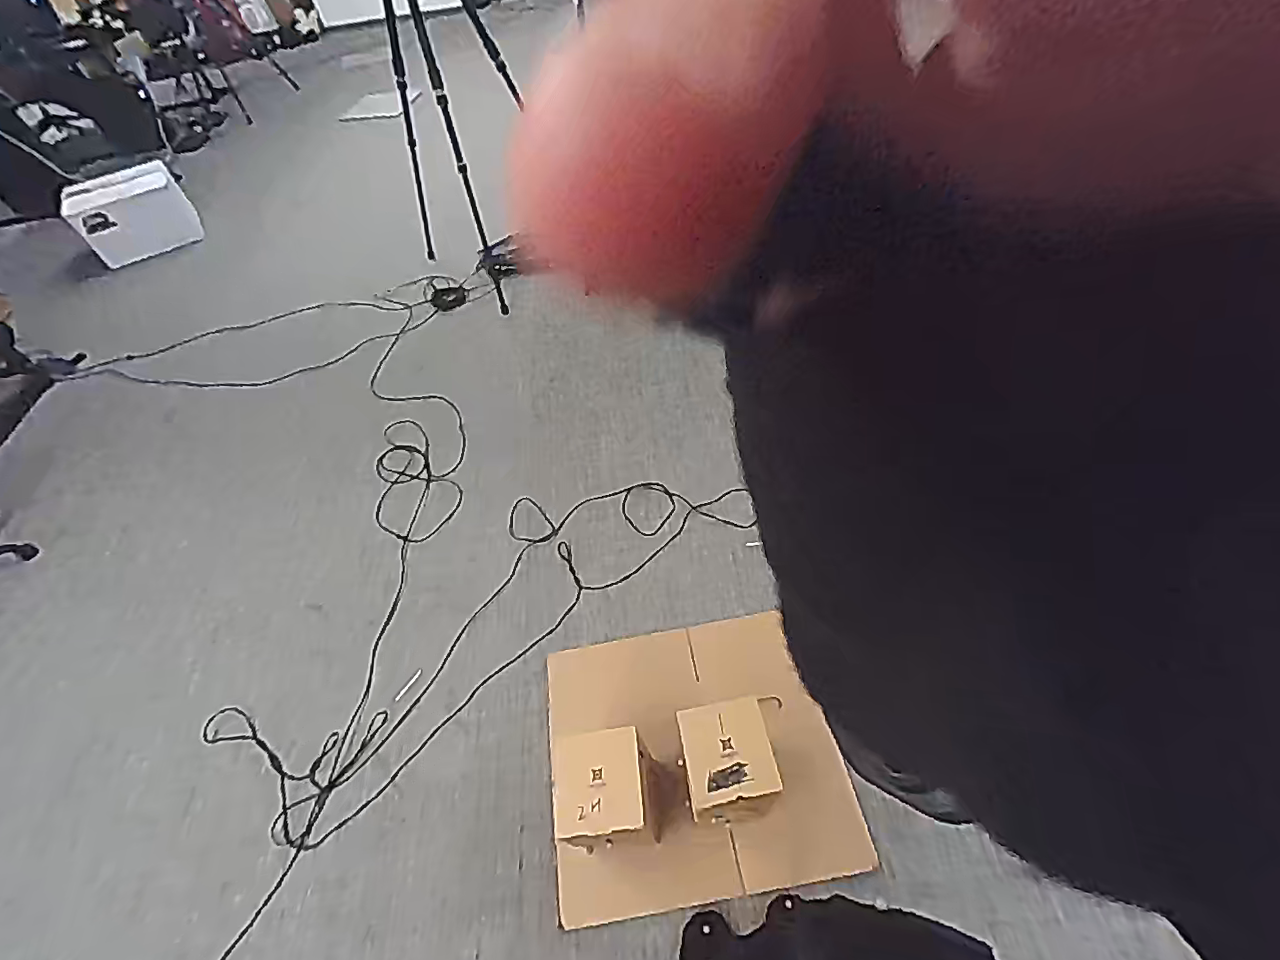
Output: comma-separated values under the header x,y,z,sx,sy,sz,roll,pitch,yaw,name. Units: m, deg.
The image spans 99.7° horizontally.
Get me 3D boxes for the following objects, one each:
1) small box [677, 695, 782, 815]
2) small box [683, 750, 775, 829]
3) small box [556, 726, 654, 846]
x,y,z,sx,sy,sz,roll,pitch,yaw,name
0.175,0.560,1.090,0.168,0.176,0.179,-12,51,-2,small box
0.191,0.663,1.217,0.168,0.176,0.179,-11,52,-1,small box
-0.067,0.613,1.079,0.168,0.176,0.179,-9,52,2,small box
